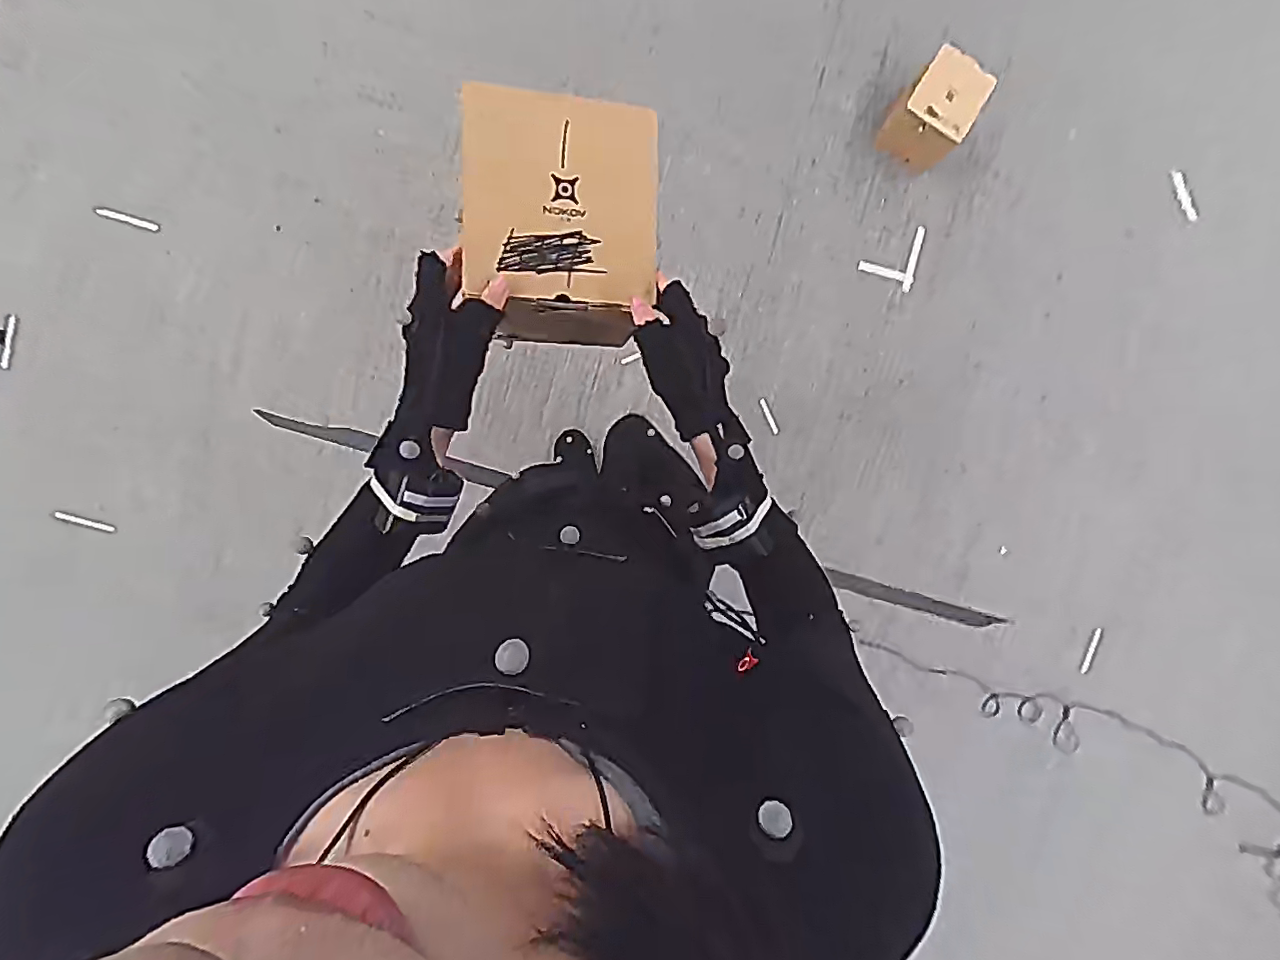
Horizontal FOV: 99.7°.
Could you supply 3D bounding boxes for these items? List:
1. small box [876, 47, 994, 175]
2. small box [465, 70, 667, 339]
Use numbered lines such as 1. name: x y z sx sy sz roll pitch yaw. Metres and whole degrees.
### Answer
1. small box: 0.745 -0.935 1.388 0.168 0.176 0.179 31 93 -5
2. small box: -0.076 -0.245 0.532 0.168 0.176 0.179 1 91 -13
